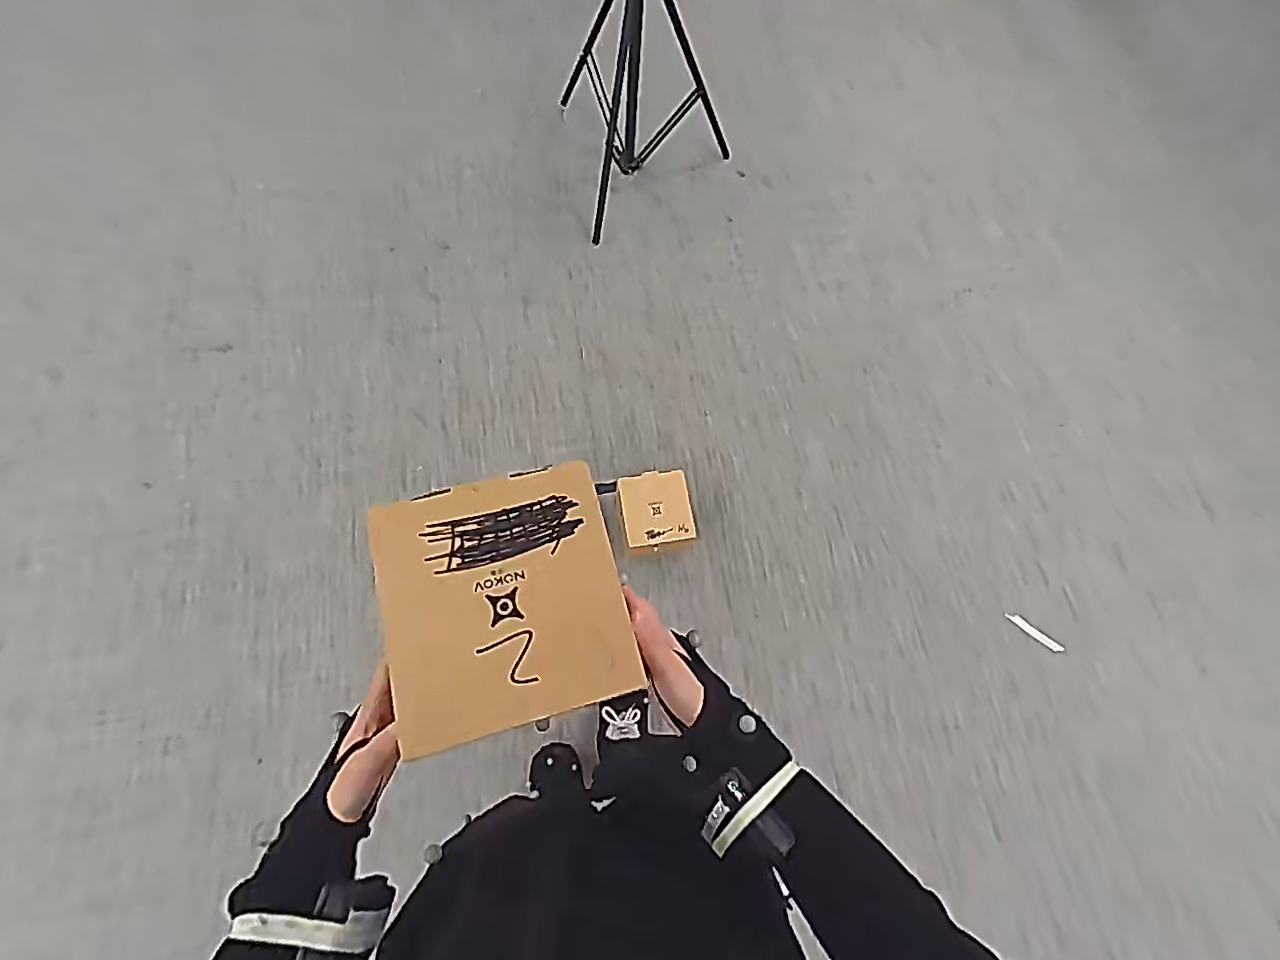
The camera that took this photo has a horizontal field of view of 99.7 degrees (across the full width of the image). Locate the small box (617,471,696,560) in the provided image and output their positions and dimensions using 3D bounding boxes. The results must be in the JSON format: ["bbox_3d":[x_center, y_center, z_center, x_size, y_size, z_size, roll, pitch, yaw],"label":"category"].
[{"bbox_3d":[0.034,0.094,1.372,0.168,0.176,0.179,-8,72,-7],"label":"small box"}]
